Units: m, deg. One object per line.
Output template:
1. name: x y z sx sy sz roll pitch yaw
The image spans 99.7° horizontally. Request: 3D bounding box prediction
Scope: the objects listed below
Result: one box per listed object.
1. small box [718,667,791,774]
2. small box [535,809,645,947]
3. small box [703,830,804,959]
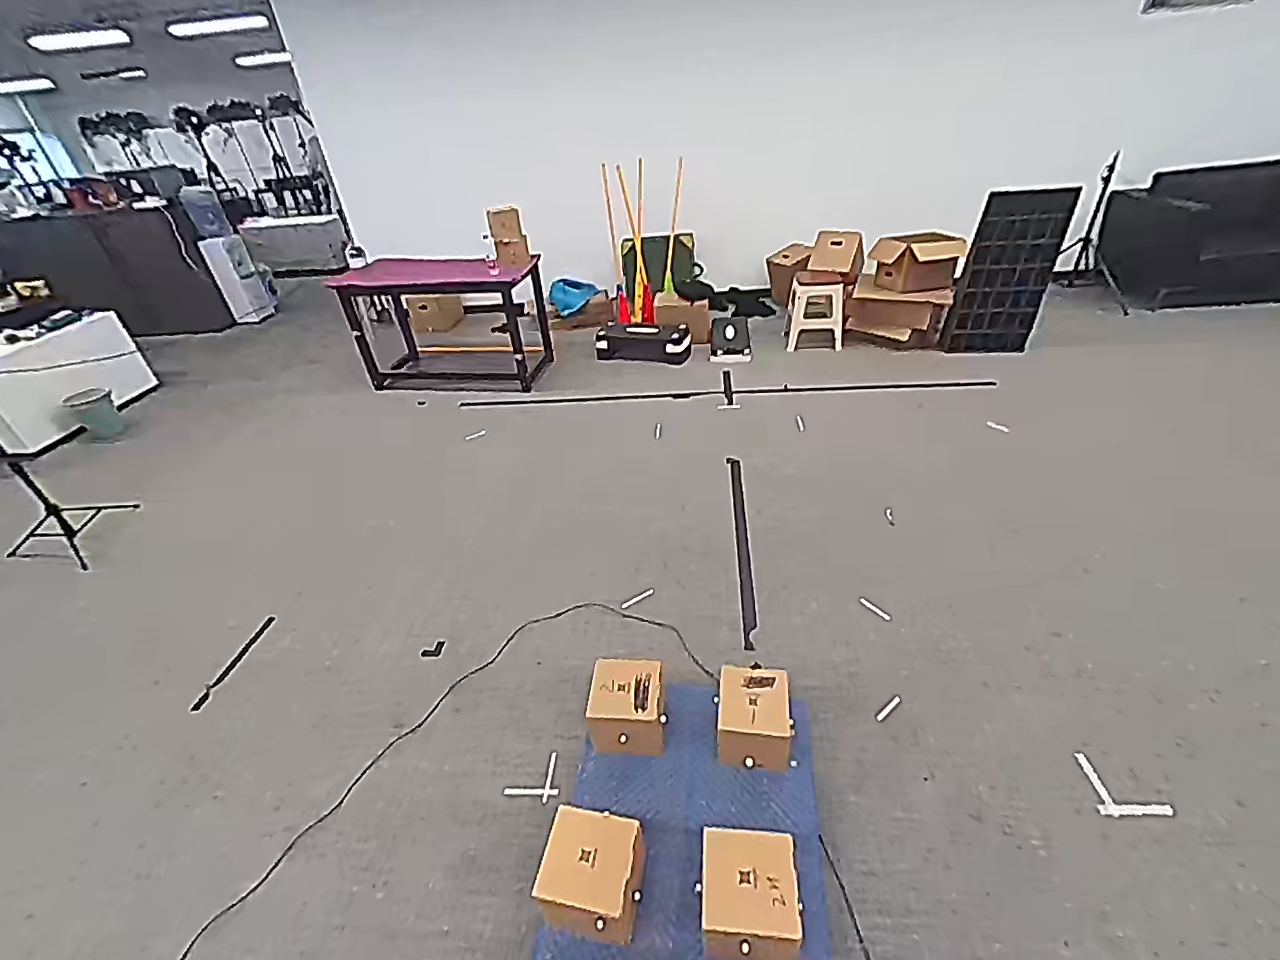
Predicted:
1. small box: 0.282 0.595 1.346 0.168 0.176 0.179 1 37 11
2. small box: -0.092 0.808 1.100 0.179 0.176 0.168 4 35 11
3. small box: 0.215 0.811 1.050 0.179 0.176 0.168 0 36 8
